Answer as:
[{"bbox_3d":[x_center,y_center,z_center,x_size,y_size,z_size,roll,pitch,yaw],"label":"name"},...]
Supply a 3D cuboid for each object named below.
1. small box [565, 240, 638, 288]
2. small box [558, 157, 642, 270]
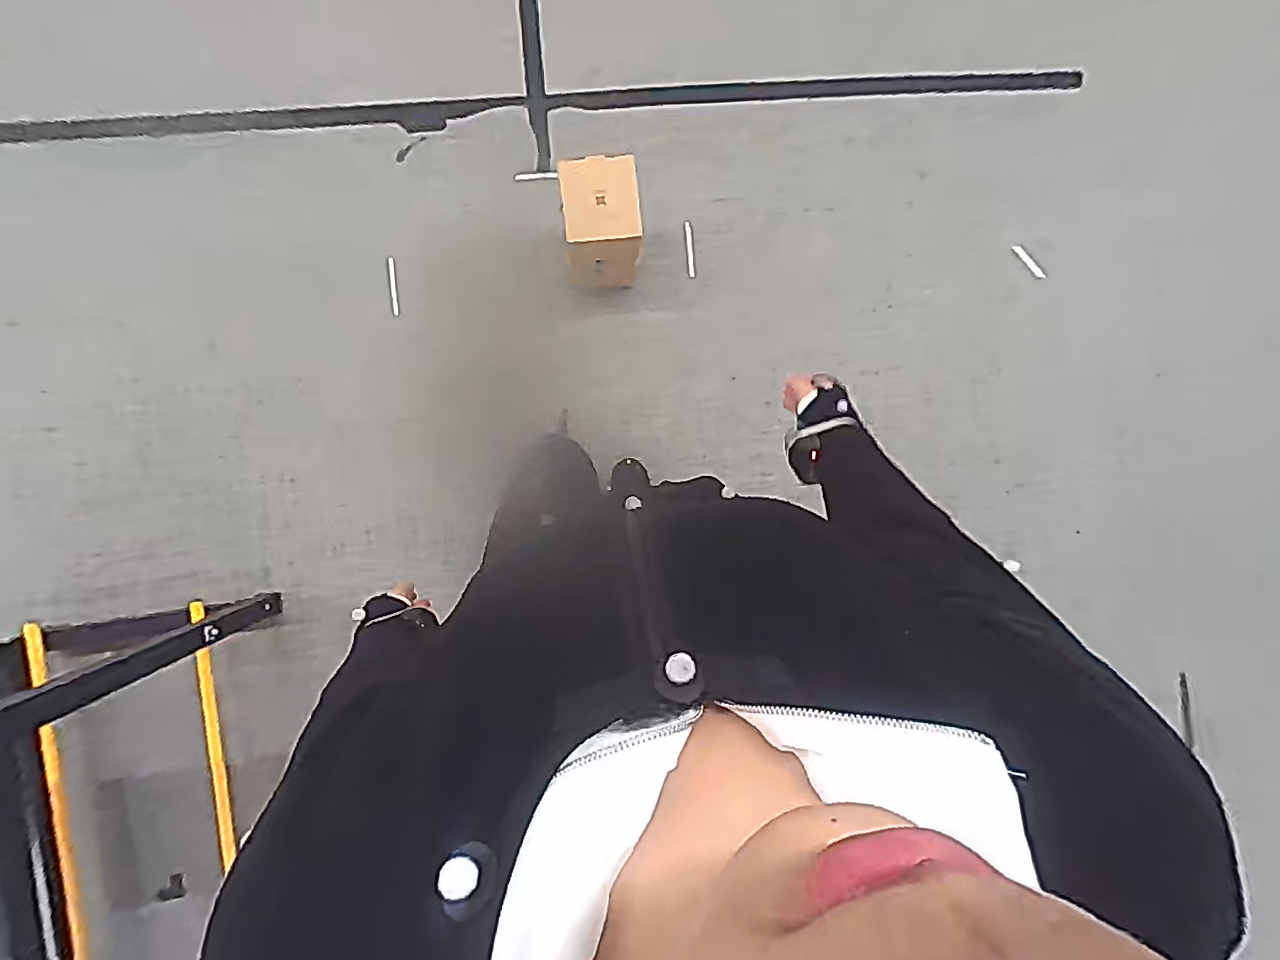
[{"bbox_3d":[-0.103,-0.604,1.394,0.179,0.176,0.168,-3,92,-7],"label":"small box"},{"bbox_3d":[-0.092,-0.600,1.232,0.168,0.176,0.179,-8,94,-4],"label":"small box"}]
